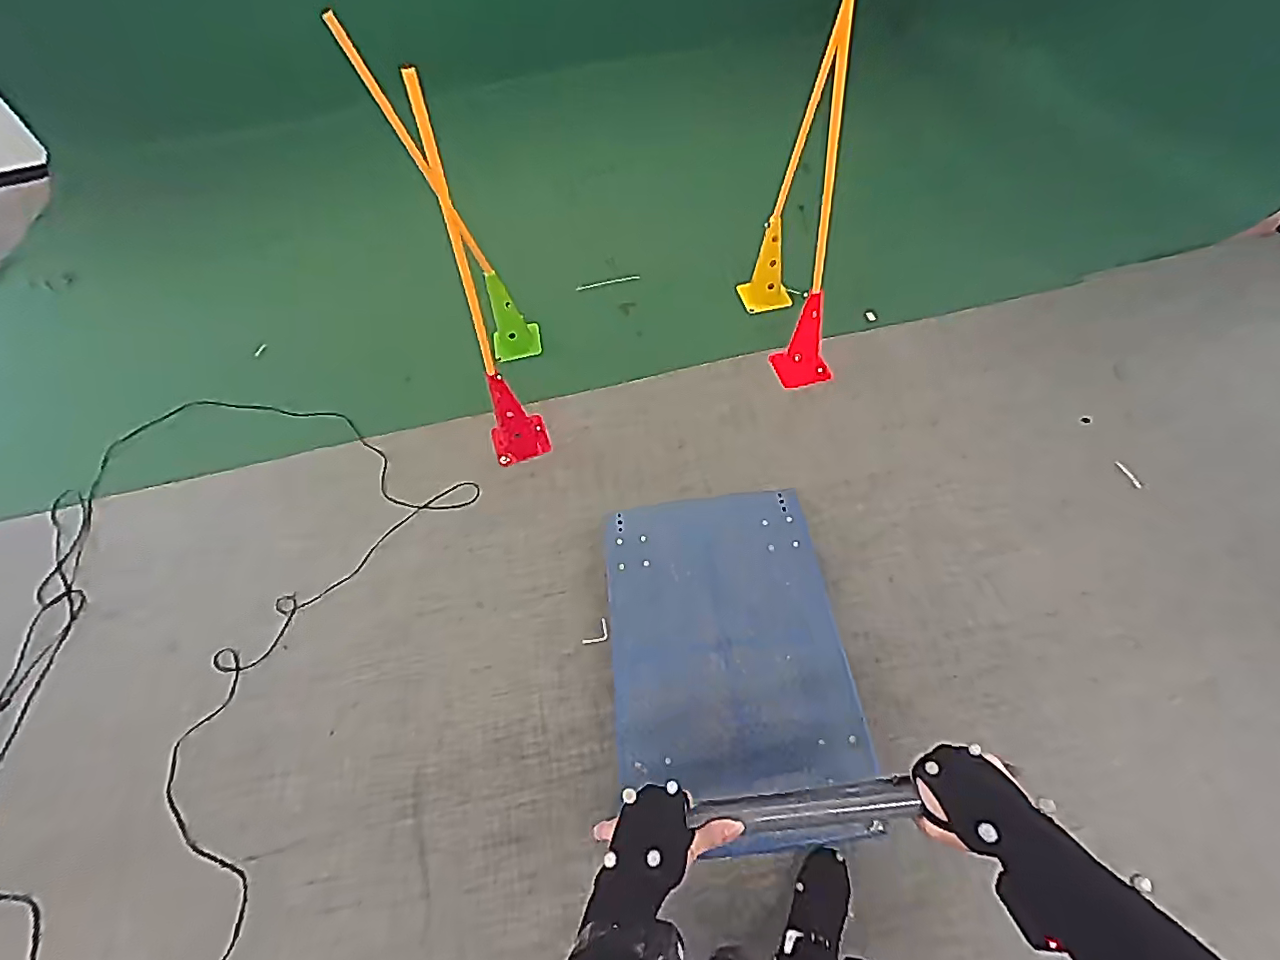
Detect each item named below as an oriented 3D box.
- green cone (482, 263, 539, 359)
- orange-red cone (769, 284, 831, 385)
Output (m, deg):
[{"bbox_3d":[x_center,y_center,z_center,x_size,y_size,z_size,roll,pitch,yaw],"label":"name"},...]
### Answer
[{"bbox_3d":[-0.554,-0.700,2.180,0.200,0.368,0.202,-13,55,-2],"label":"green cone"},{"bbox_3d":[0.606,-0.547,1.962,0.198,0.360,0.199,-12,54,-3],"label":"orange-red cone"}]
